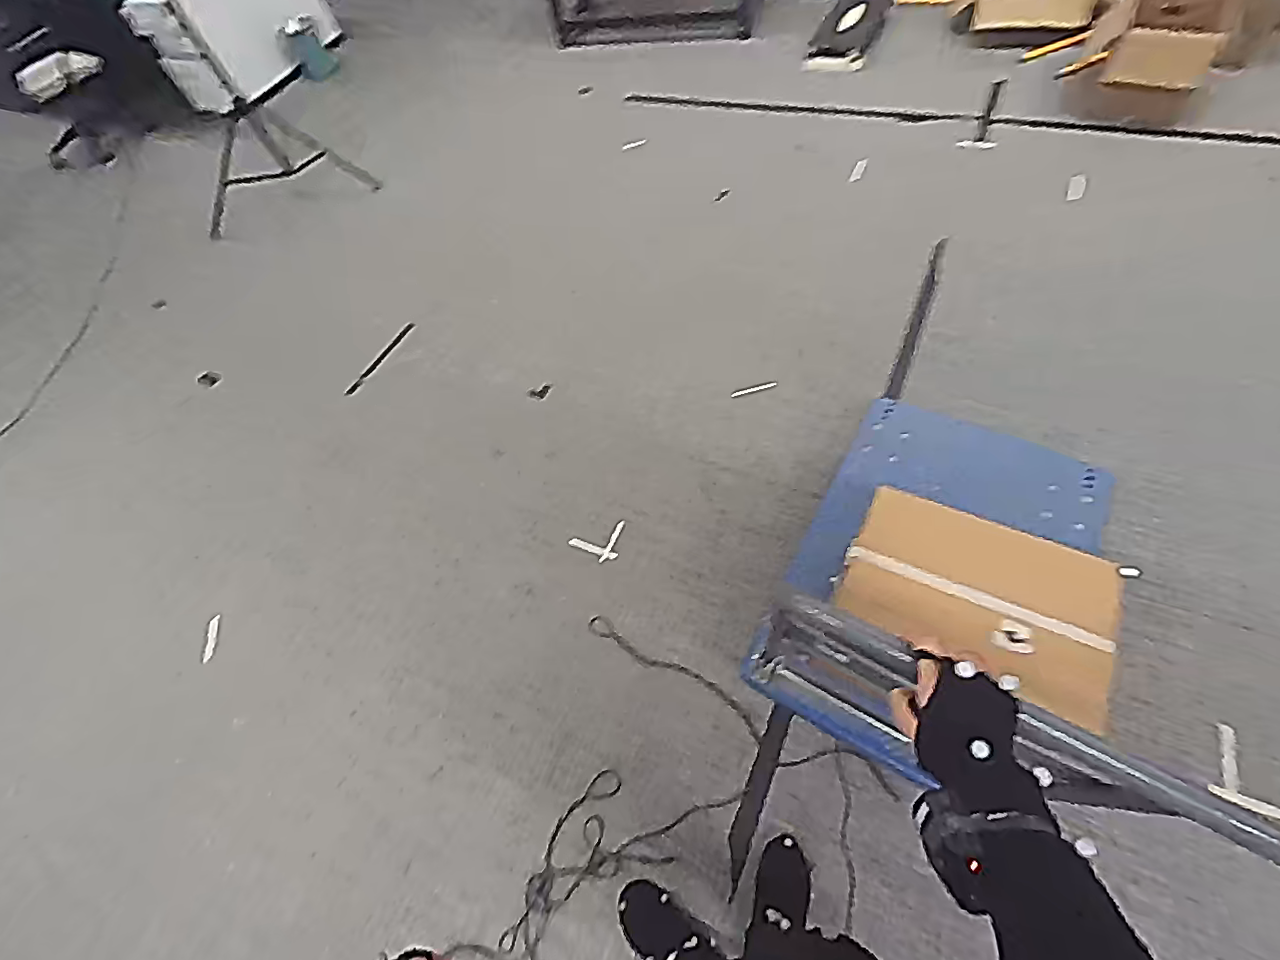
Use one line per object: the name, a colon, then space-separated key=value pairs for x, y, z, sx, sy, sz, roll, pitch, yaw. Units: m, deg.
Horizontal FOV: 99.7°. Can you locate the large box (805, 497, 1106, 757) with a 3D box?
large box: x=0.583 y=0.290 z=1.065 sx=0.408 sy=0.320 sz=0.320 roll=21 pitch=66 yaw=19
